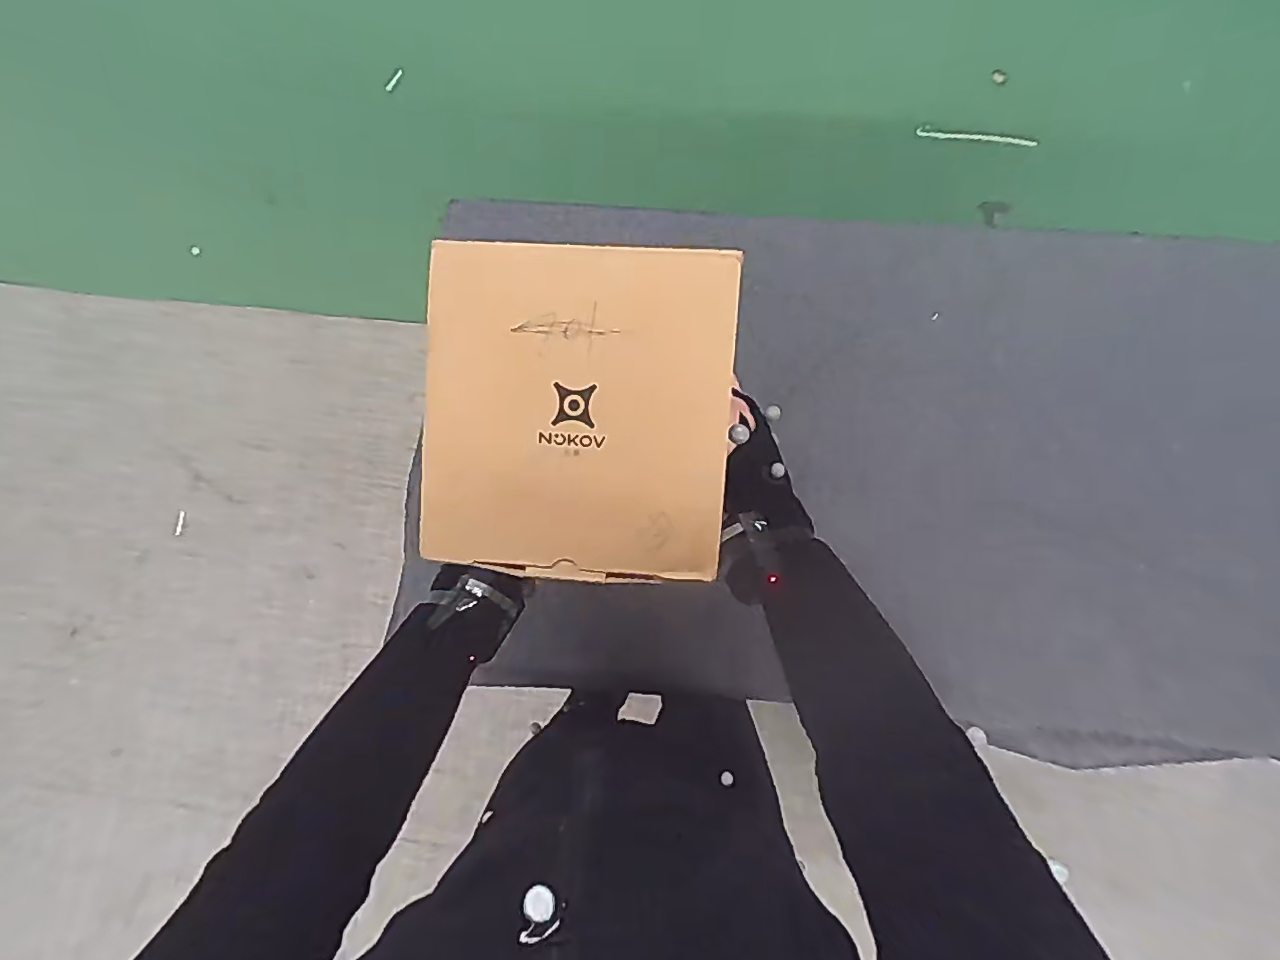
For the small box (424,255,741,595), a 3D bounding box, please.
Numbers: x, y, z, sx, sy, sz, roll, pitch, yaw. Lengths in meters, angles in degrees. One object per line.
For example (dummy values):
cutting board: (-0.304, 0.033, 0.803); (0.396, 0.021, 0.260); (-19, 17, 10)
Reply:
small box: (-0.027, -0.033, 0.367); (0.168, 0.176, 0.179); (3, 92, 4)
